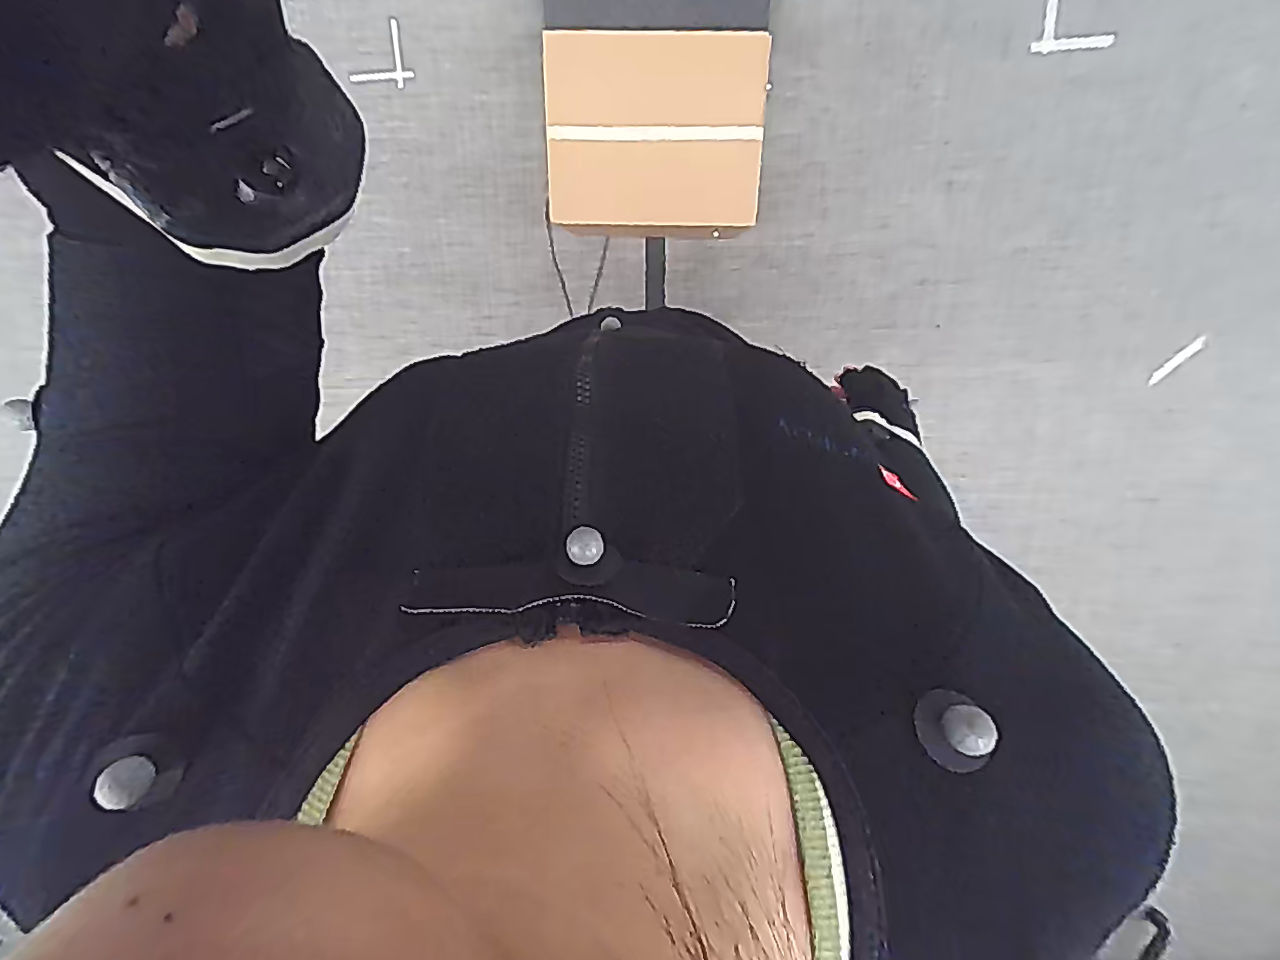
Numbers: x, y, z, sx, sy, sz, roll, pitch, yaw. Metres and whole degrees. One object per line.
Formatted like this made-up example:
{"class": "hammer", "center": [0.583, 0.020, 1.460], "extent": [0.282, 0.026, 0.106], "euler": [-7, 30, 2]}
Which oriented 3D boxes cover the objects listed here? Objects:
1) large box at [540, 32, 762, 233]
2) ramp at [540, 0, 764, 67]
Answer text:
{"class": "large box", "center": [0.023, -0.701, 1.149], "extent": [0.408, 0.320, 0.320], "euler": [1, 110, 1]}
{"class": "ramp", "center": [0.023, -1.268, 1.057], "extent": [0.509, 0.206, 0.991], "euler": [-2, 106, 1]}
